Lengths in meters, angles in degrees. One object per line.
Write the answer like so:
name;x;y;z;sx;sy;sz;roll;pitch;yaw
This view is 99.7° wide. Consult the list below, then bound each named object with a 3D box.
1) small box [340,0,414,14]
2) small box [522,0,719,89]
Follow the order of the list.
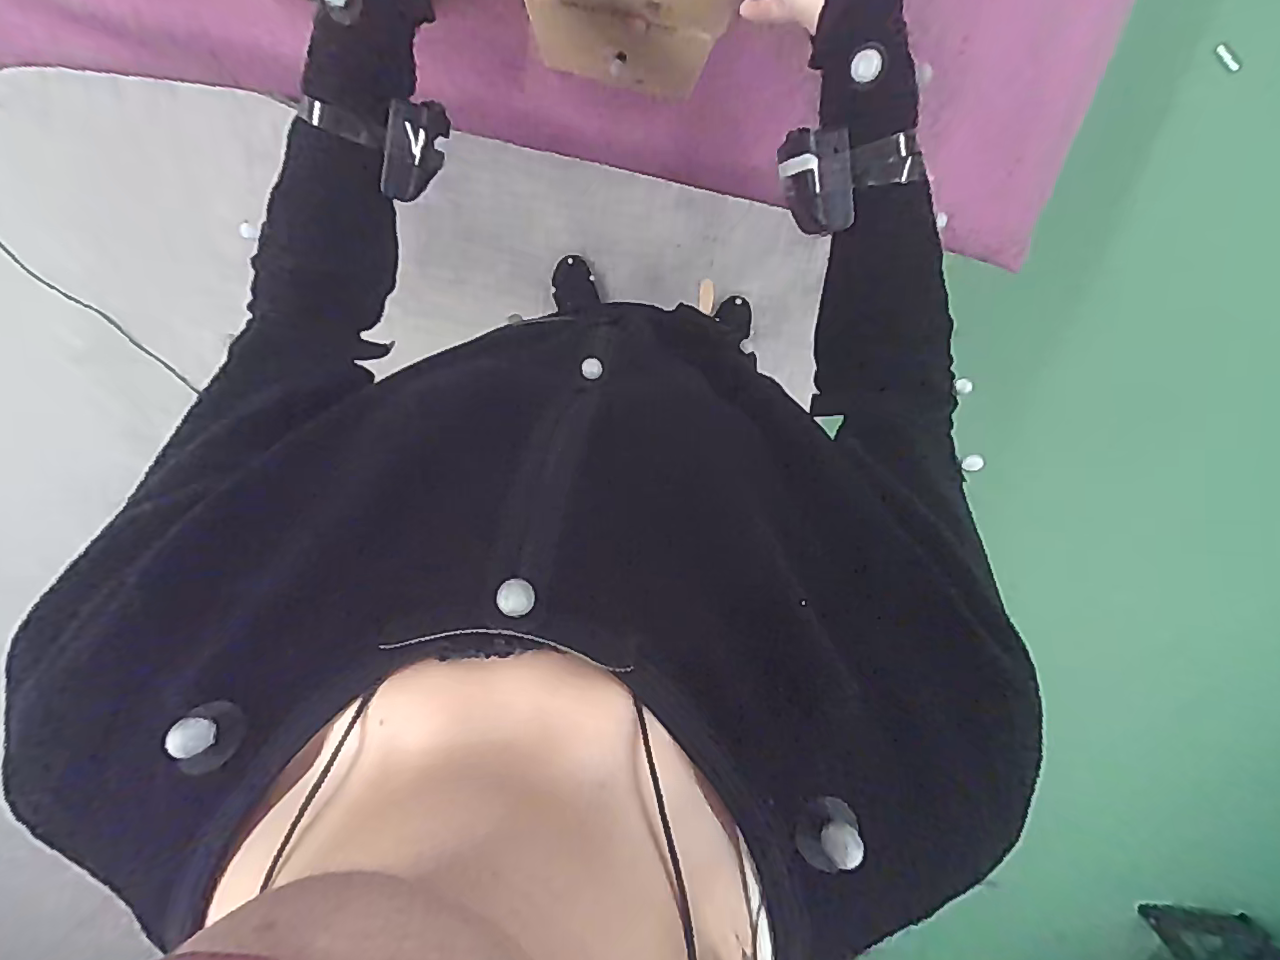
small box;-0.296;-0.548;0.454;0.168;0.176;0.179;9;111;-5
small box;-0.005;-0.490;0.490;0.168;0.176;0.179;9;111;-6
